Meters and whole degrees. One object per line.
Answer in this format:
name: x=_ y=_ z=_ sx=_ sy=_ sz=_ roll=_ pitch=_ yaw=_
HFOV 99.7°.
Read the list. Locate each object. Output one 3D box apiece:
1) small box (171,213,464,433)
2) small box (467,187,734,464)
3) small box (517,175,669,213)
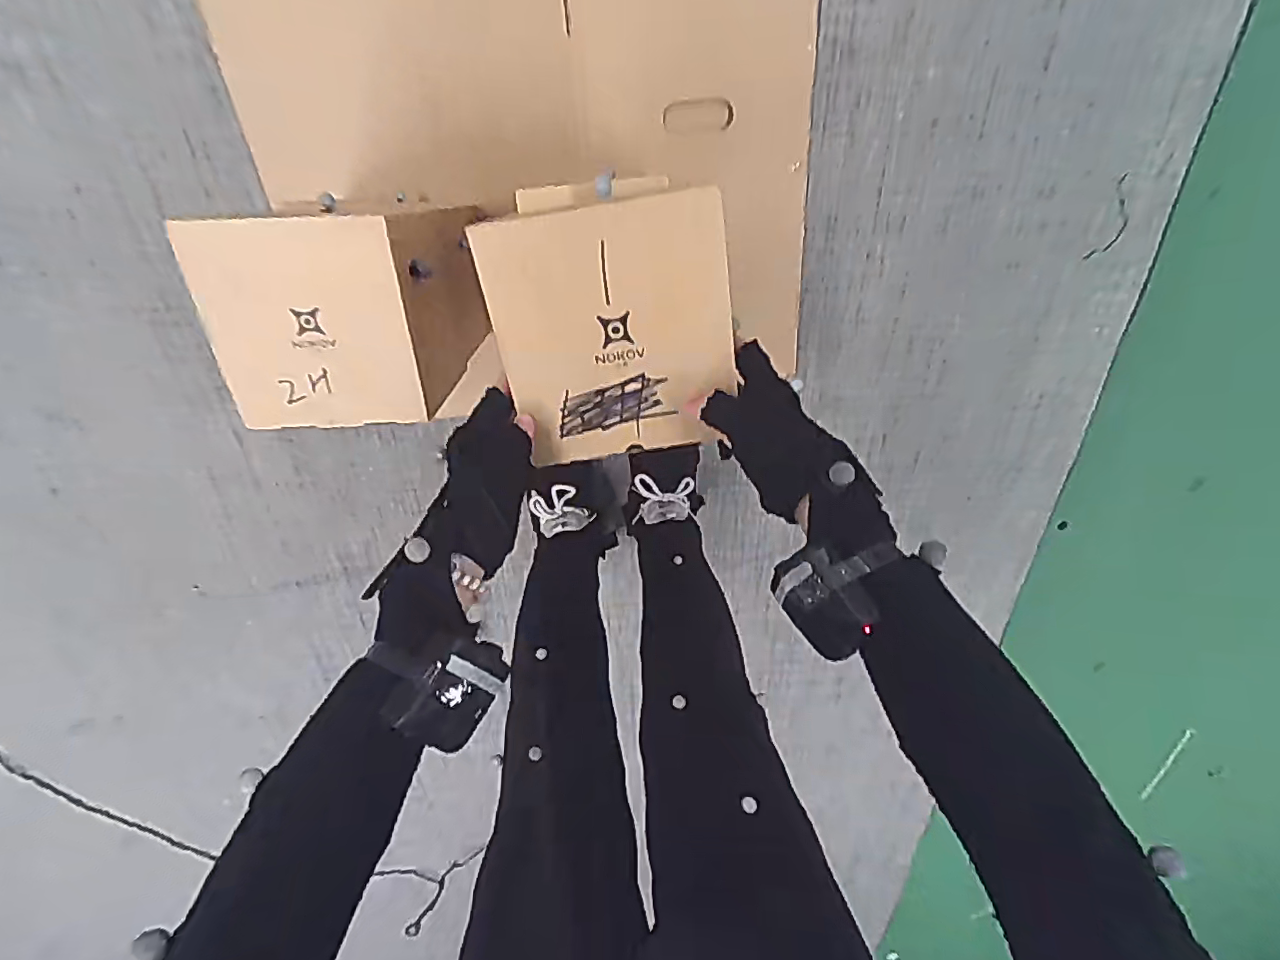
small box: x=-0.281 y=-0.160 z=0.524 sx=0.168 sy=0.176 sz=0.179 roll=-3 pitch=119 yaw=-3
small box: x=-0.021 y=-0.137 z=0.454 sx=0.168 sy=0.176 sz=0.179 roll=-10 pitch=118 yaw=2
small box: x=-0.052 y=-0.273 z=0.676 sx=0.168 sy=0.176 sz=0.179 roll=-8 pitch=120 yaw=-2
